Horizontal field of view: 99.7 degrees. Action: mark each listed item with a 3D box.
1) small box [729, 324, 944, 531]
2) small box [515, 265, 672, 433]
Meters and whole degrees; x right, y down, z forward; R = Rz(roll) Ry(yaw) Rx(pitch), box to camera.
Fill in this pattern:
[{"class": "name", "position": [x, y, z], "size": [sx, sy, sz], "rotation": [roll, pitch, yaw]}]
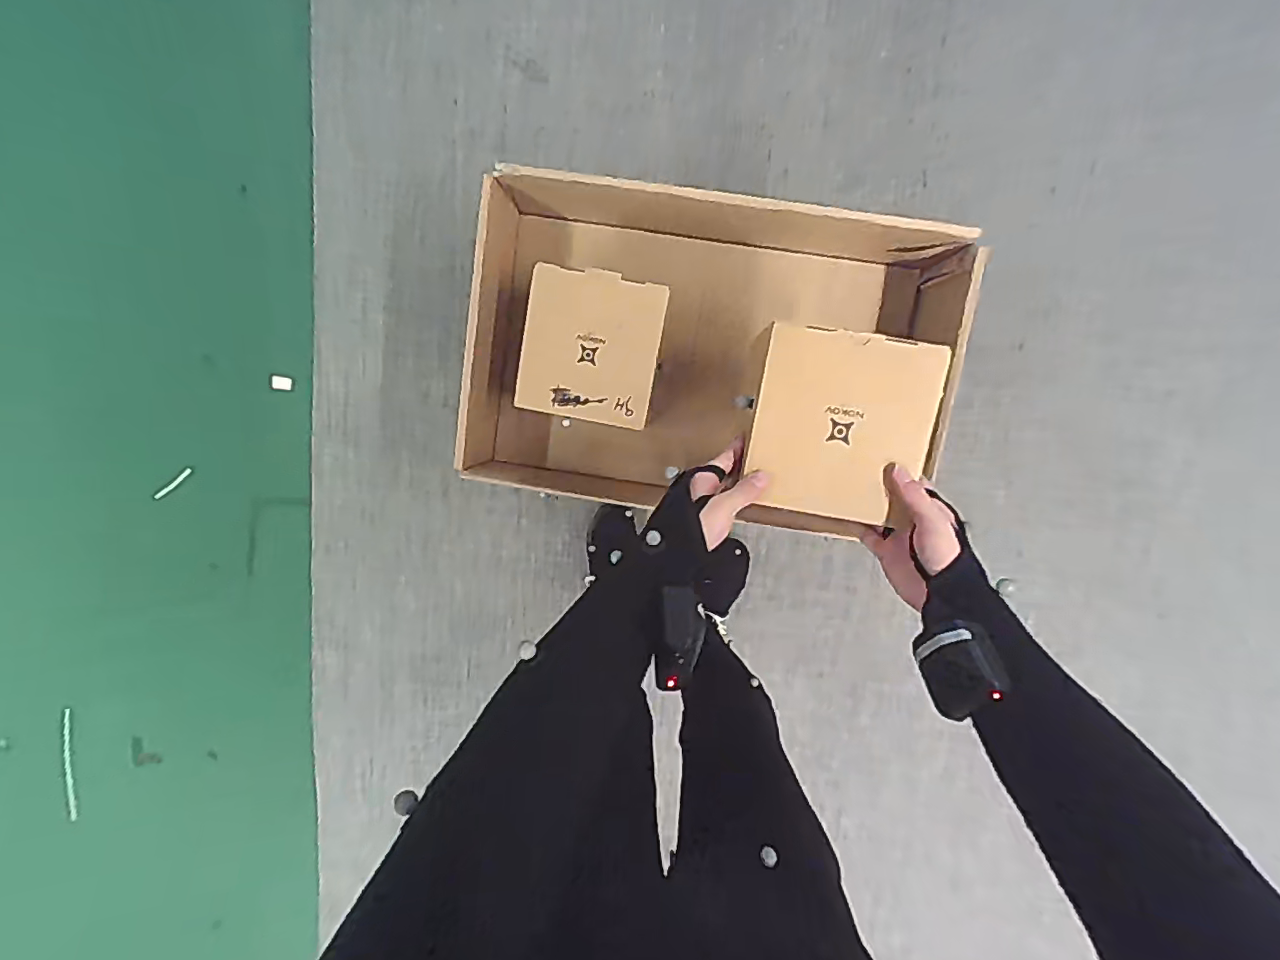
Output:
[{"class": "small box", "position": [0.194, -0.059, 0.591], "size": [0.168, 0.176, 0.179], "rotation": [10, 98, 4]}, {"class": "small box", "position": [-0.055, -0.166, 0.730], "size": [0.168, 0.176, 0.179], "rotation": [11, 98, 2]}]
